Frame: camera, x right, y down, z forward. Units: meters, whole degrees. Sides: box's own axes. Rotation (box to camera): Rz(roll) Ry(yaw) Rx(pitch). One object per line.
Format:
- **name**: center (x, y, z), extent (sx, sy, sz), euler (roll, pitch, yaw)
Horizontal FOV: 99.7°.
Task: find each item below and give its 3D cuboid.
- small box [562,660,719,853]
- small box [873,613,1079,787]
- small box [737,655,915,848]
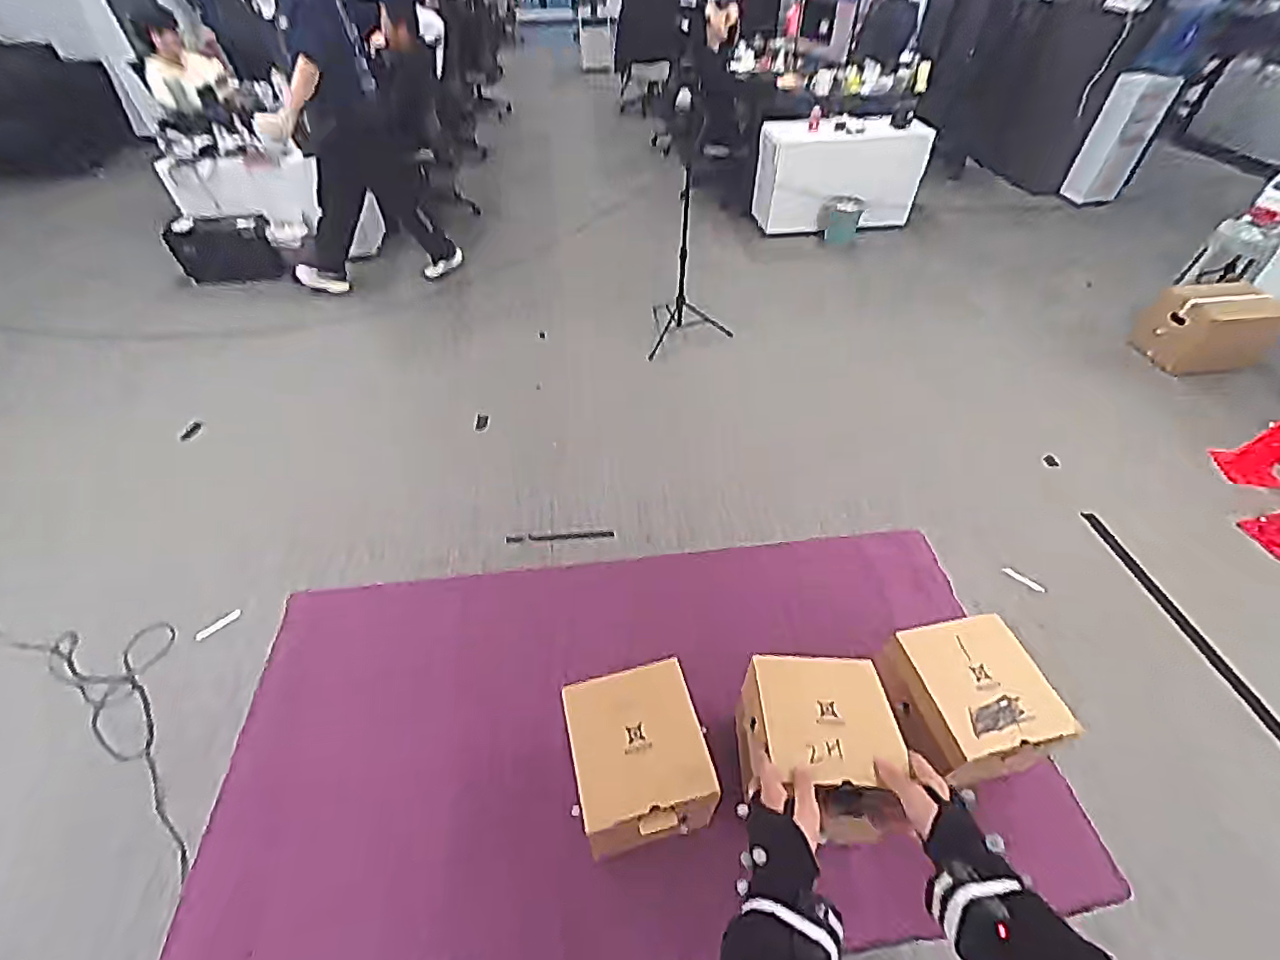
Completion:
- **small box**: center (-0.002, 0.380, 0.736), extent (0.168, 0.176, 0.179), euler (-13, 47, -10)
- **small box**: center (0.459, 0.322, 0.781), extent (0.168, 0.176, 0.179), euler (-9, 46, -7)
- **small box**: center (0.229, 0.360, 0.722), extent (0.168, 0.176, 0.179), euler (2, 41, 1)
